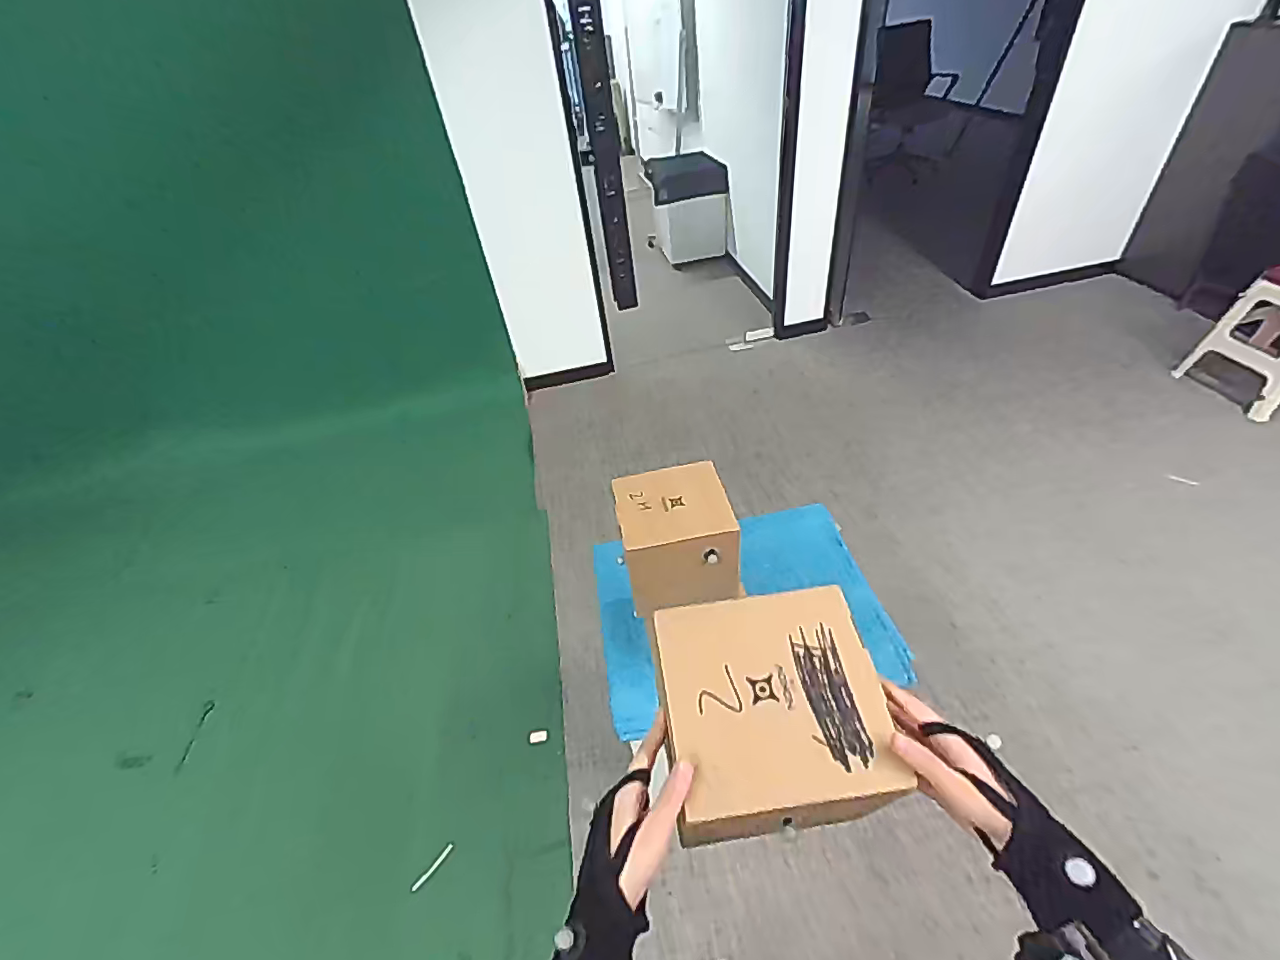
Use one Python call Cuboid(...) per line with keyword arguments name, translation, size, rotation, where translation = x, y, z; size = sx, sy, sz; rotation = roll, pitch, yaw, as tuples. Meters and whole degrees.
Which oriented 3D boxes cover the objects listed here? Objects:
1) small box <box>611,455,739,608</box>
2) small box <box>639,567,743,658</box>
Cuboid(name="small box", translation=(0.055, 0.086, 0.888), size=(0.179, 0.176, 0.168), rotation=(-11, 41, -3))
Cuboid(name="small box", translation=(0.082, 0.204, 1.000), size=(0.179, 0.176, 0.168), rotation=(-11, 42, -2))
